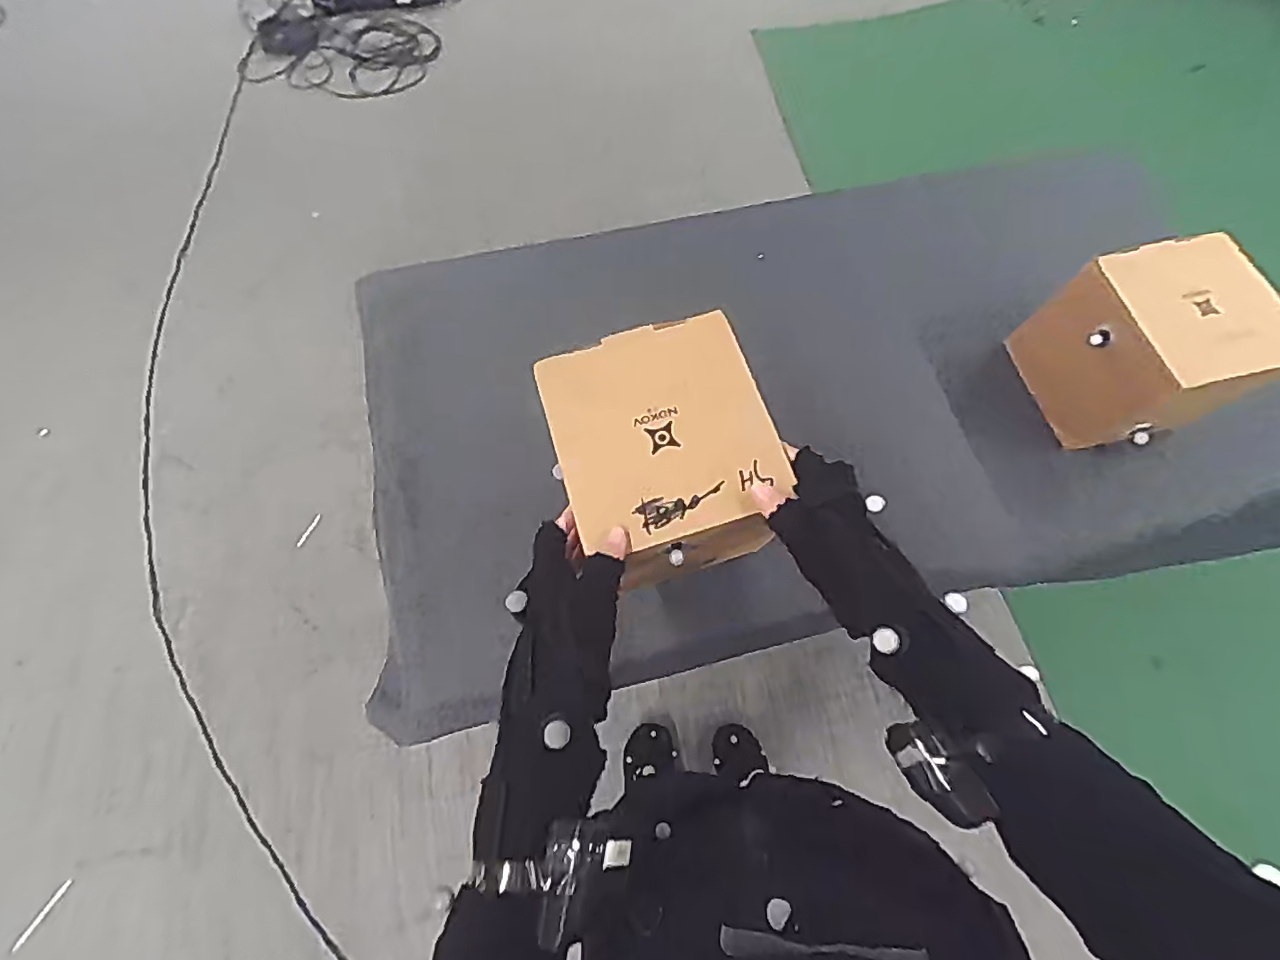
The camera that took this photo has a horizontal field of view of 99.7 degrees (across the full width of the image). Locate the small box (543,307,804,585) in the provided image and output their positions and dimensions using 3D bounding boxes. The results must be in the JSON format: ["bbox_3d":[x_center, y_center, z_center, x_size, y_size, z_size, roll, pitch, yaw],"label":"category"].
[{"bbox_3d":[0.023,-0.019,0.490,0.168,0.176,0.179,-16,72,-2],"label":"small box"}]

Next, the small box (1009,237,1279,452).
[{"bbox_3d":[0.604,-0.156,0.661,0.168,0.176,0.179,-13,71,-4],"label":"small box"}]
